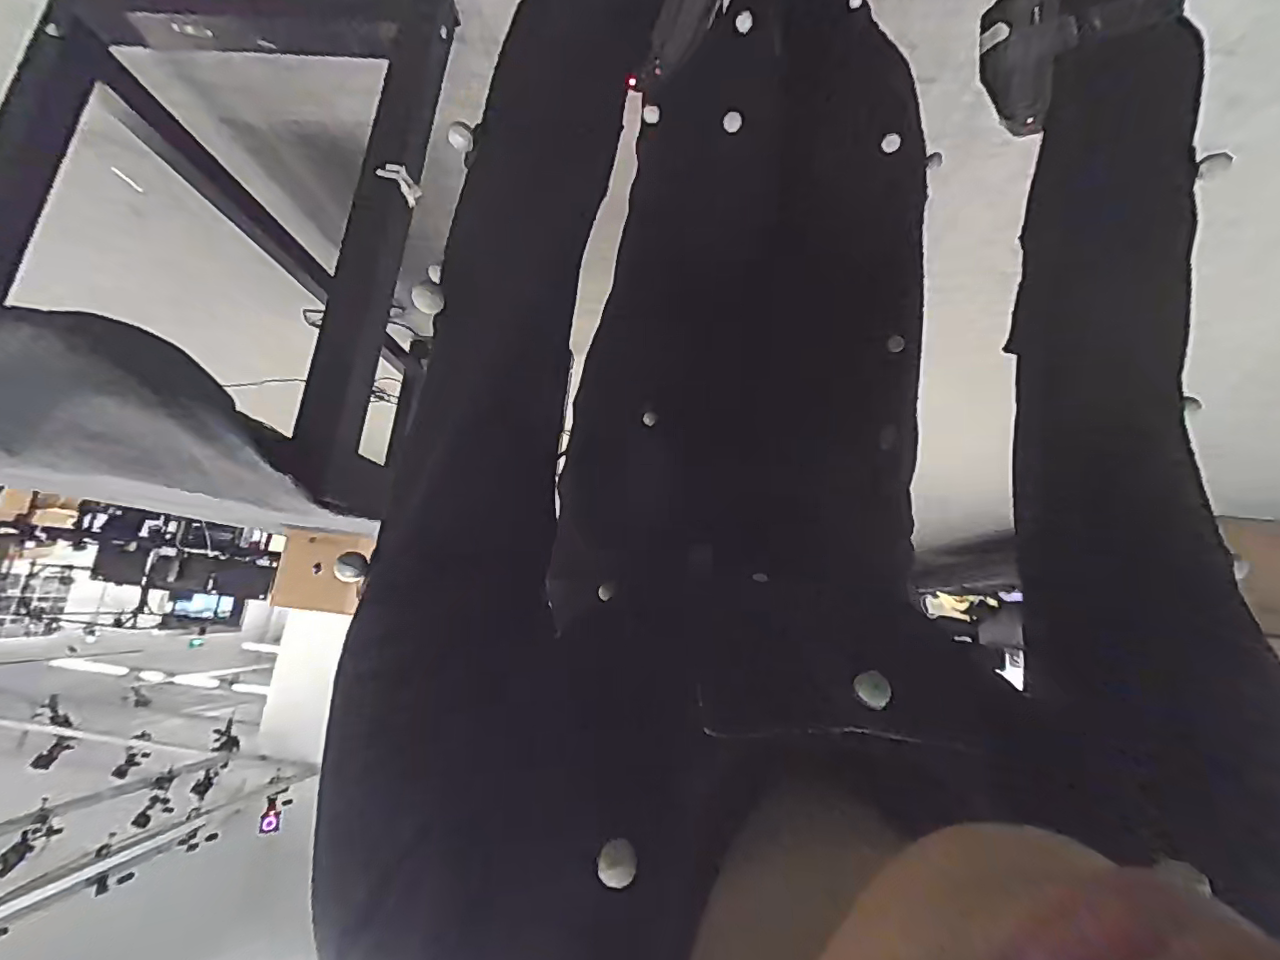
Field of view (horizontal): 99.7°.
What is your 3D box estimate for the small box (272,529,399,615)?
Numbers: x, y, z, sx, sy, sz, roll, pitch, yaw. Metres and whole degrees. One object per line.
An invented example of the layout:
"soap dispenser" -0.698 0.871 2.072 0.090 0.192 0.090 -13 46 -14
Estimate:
"small box" -0.670 0.208 1.210 0.168 0.176 0.179 5 167 6
